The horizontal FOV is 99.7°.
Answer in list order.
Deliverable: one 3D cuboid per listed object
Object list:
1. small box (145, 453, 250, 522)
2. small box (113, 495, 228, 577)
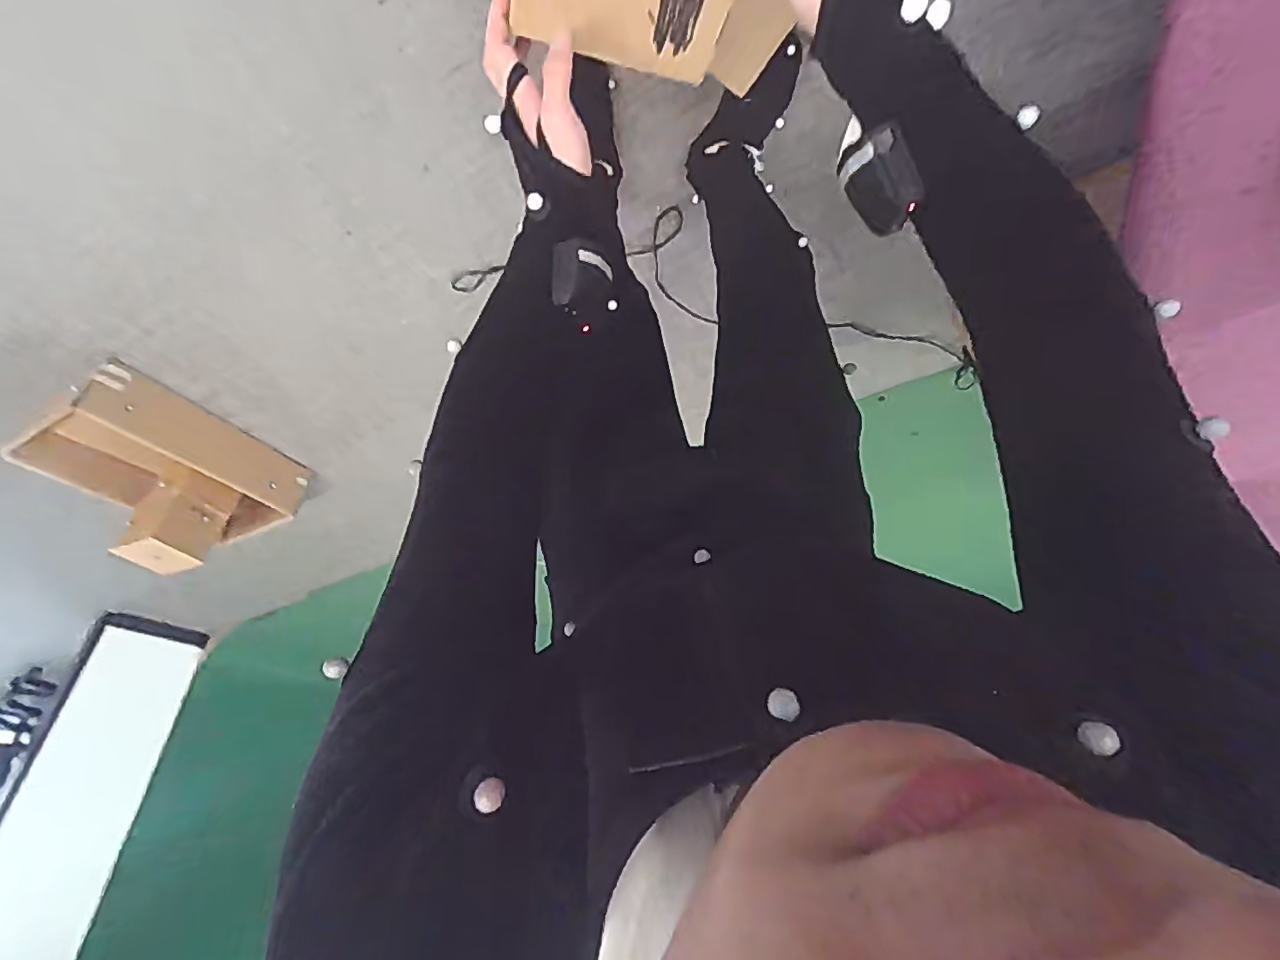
[{"bbox_3d":[-1.411,0.042,1.740,0.179,0.176,0.168,-17,138,17],"label":"small box"},{"bbox_3d":[-1.411,0.171,1.639,0.179,0.176,0.168,-14,140,14],"label":"small box"}]
